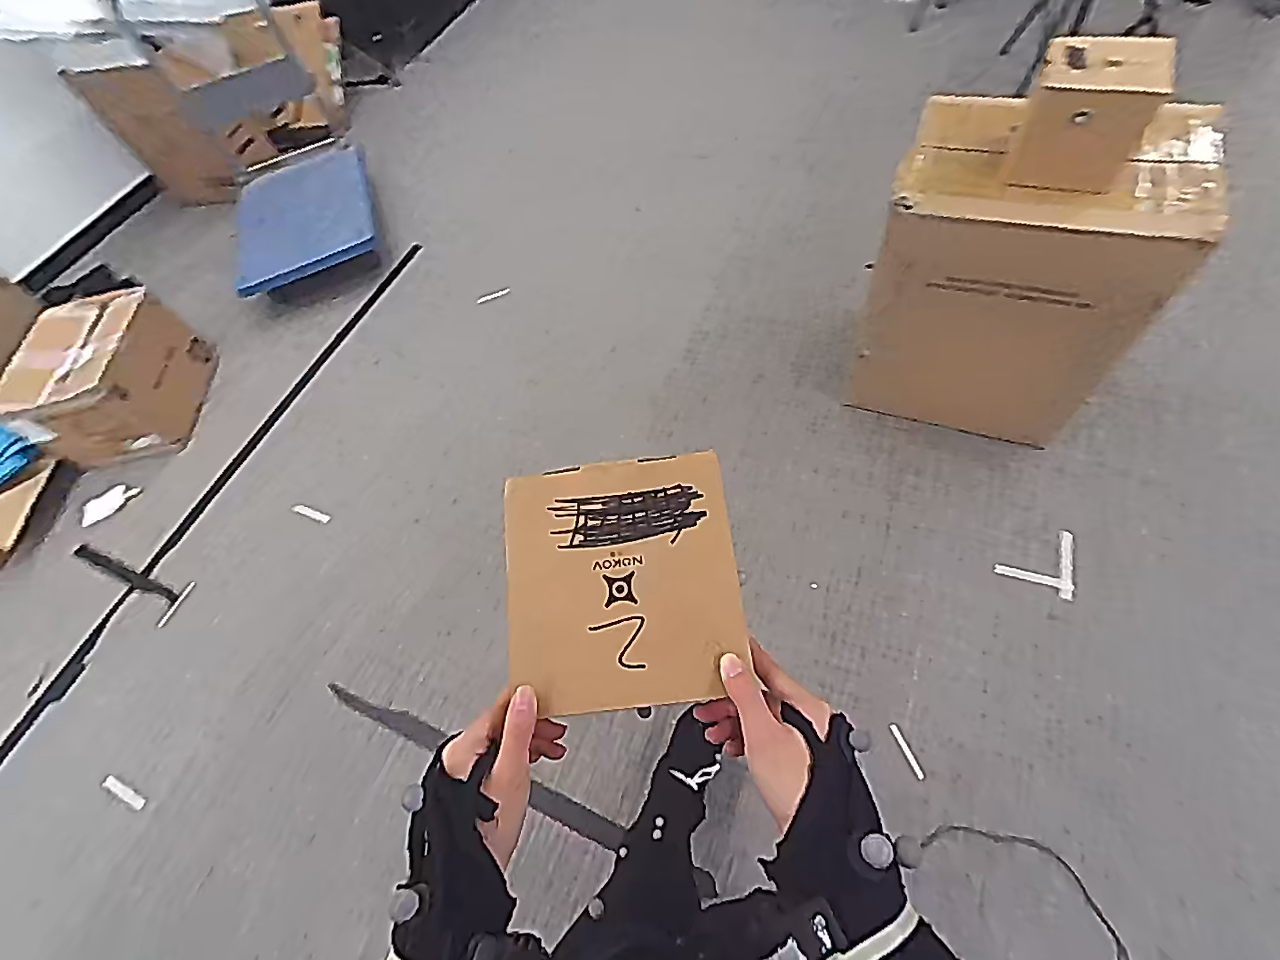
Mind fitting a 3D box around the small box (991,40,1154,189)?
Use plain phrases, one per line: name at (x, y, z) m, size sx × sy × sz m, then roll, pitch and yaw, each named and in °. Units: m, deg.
small box at (0.764, -0.651, 0.970) m, size 0.179 × 0.176 × 0.168 m, roll 17°, pitch 65°, yaw 19°
